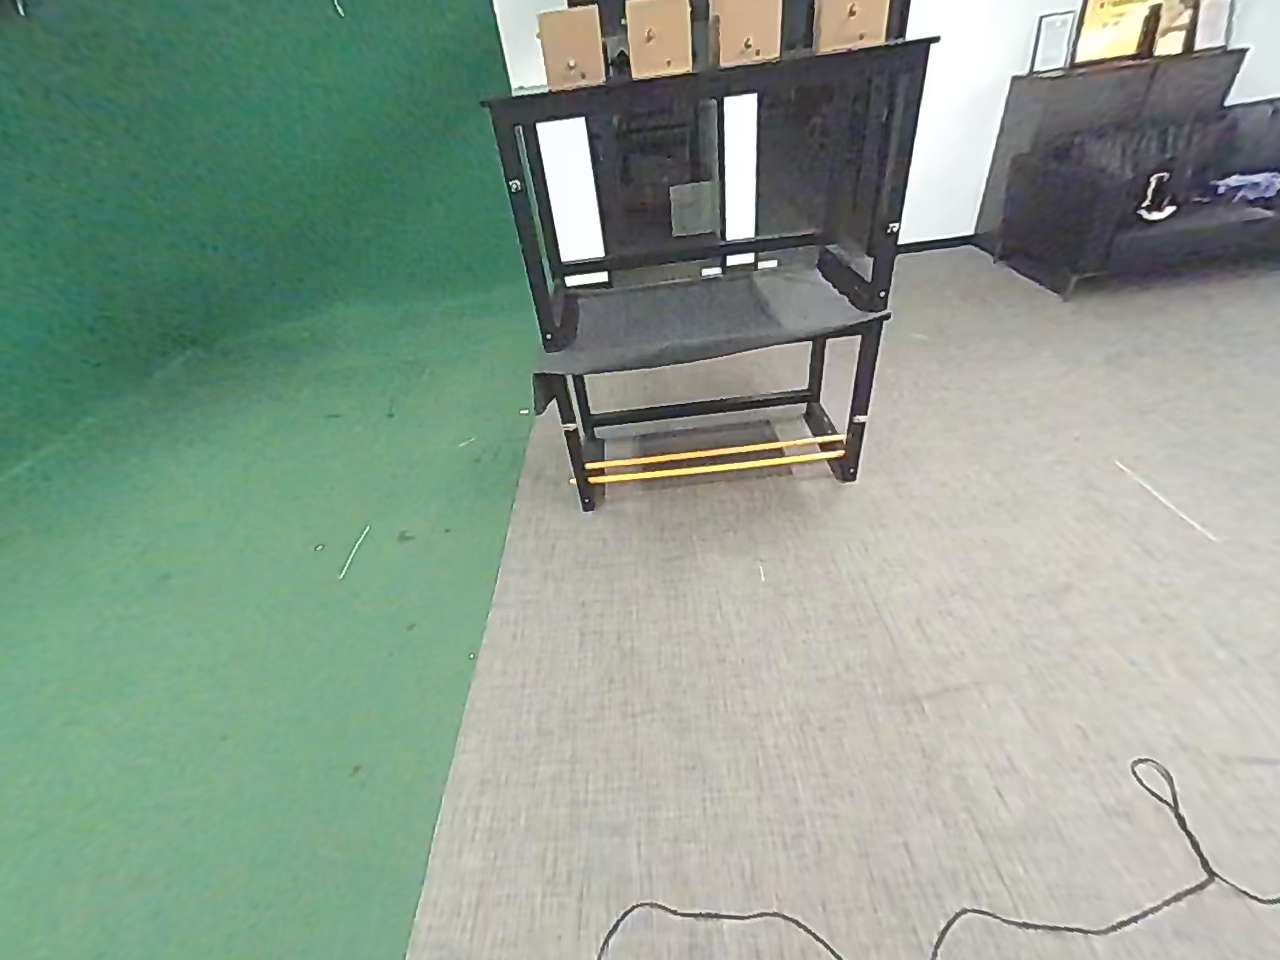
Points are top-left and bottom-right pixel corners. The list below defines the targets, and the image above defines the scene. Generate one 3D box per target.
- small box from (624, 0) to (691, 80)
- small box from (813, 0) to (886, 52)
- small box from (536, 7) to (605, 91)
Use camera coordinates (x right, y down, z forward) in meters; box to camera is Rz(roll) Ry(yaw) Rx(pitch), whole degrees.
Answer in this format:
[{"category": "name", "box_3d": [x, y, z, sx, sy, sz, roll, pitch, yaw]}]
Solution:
[{"category": "small box", "box_3d": [0.051, -1.232, 1.509, 0.168, 0.176, 0.179, -5, 38, 4]}, {"category": "small box", "box_3d": [0.563, -1.273, 1.456, 0.168, 0.176, 0.179, 0, 38, 10]}, {"category": "small box", "box_3d": [-0.194, -1.218, 1.536, 0.168, 0.176, 0.179, -9, 39, 0]}]
